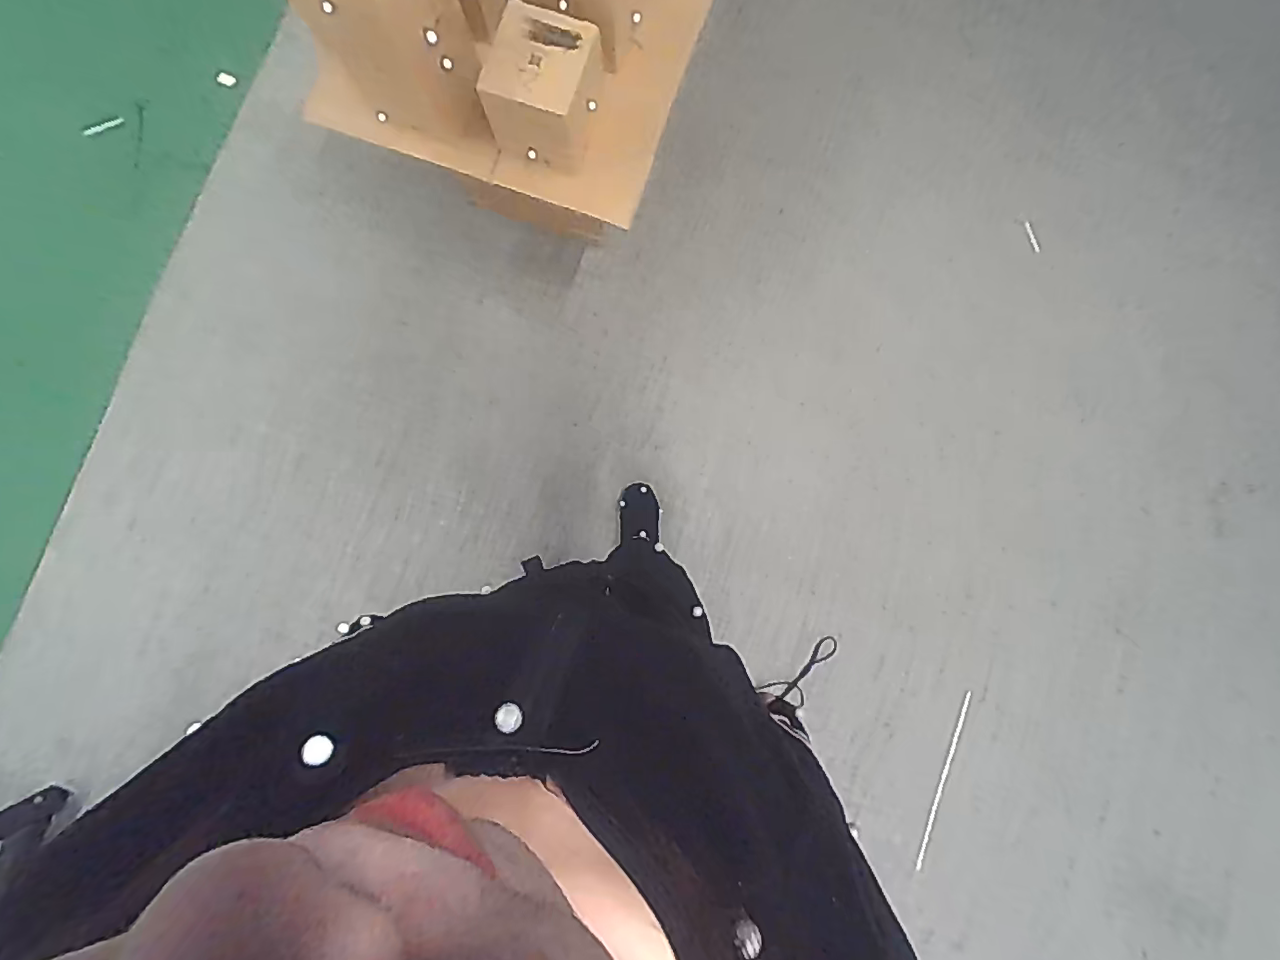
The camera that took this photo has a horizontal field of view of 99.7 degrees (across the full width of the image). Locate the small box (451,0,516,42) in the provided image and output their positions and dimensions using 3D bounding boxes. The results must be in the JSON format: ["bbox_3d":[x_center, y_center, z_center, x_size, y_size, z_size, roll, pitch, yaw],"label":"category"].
[{"bbox_3d":[-0.333,-0.990,1.016,0.168,0.176,0.179,18,85,3],"label":"small box"}]
